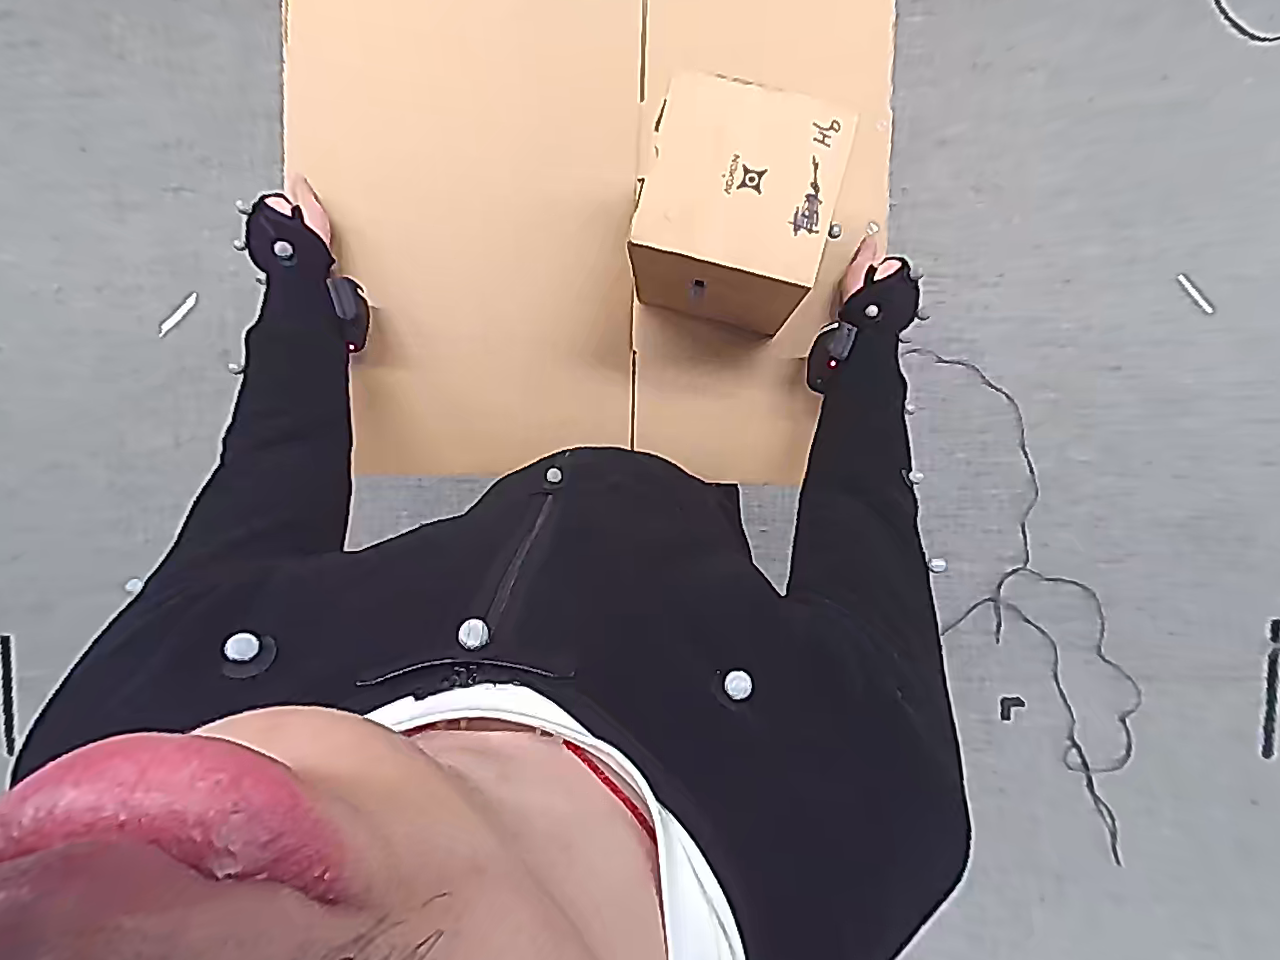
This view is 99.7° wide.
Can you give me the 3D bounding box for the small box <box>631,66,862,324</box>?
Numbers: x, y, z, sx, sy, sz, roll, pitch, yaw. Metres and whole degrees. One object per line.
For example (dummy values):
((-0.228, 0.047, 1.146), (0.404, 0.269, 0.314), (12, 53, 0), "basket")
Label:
((0.101, -0.280, 0.571), (0.179, 0.176, 0.168), (15, 92, 3), "small box")
